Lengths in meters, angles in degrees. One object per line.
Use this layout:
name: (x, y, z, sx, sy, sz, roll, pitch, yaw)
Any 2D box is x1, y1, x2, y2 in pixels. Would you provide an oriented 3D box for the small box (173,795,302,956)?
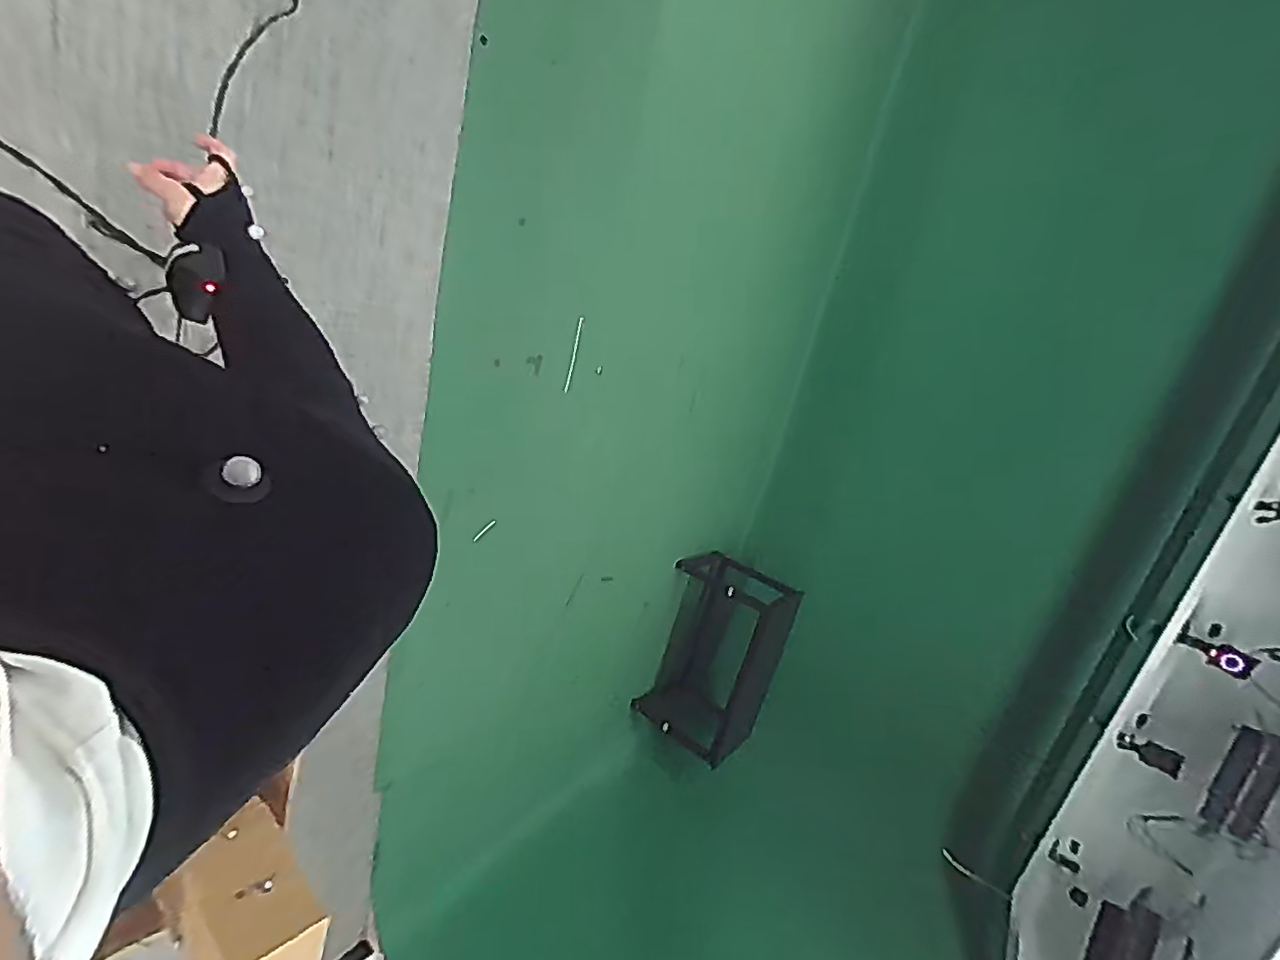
small box: (-0.847, 0.814, 1.134, 0.168, 0.176, 0.179, 3, 109, -55)

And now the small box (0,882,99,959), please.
small box: (-1.028, 0.813, 0.888, 0.168, 0.176, 0.179, 2, 109, -54)

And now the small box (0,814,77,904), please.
small box: (-1.155, 0.762, 0.979, 0.168, 0.176, 0.179, 0, 110, -53)
